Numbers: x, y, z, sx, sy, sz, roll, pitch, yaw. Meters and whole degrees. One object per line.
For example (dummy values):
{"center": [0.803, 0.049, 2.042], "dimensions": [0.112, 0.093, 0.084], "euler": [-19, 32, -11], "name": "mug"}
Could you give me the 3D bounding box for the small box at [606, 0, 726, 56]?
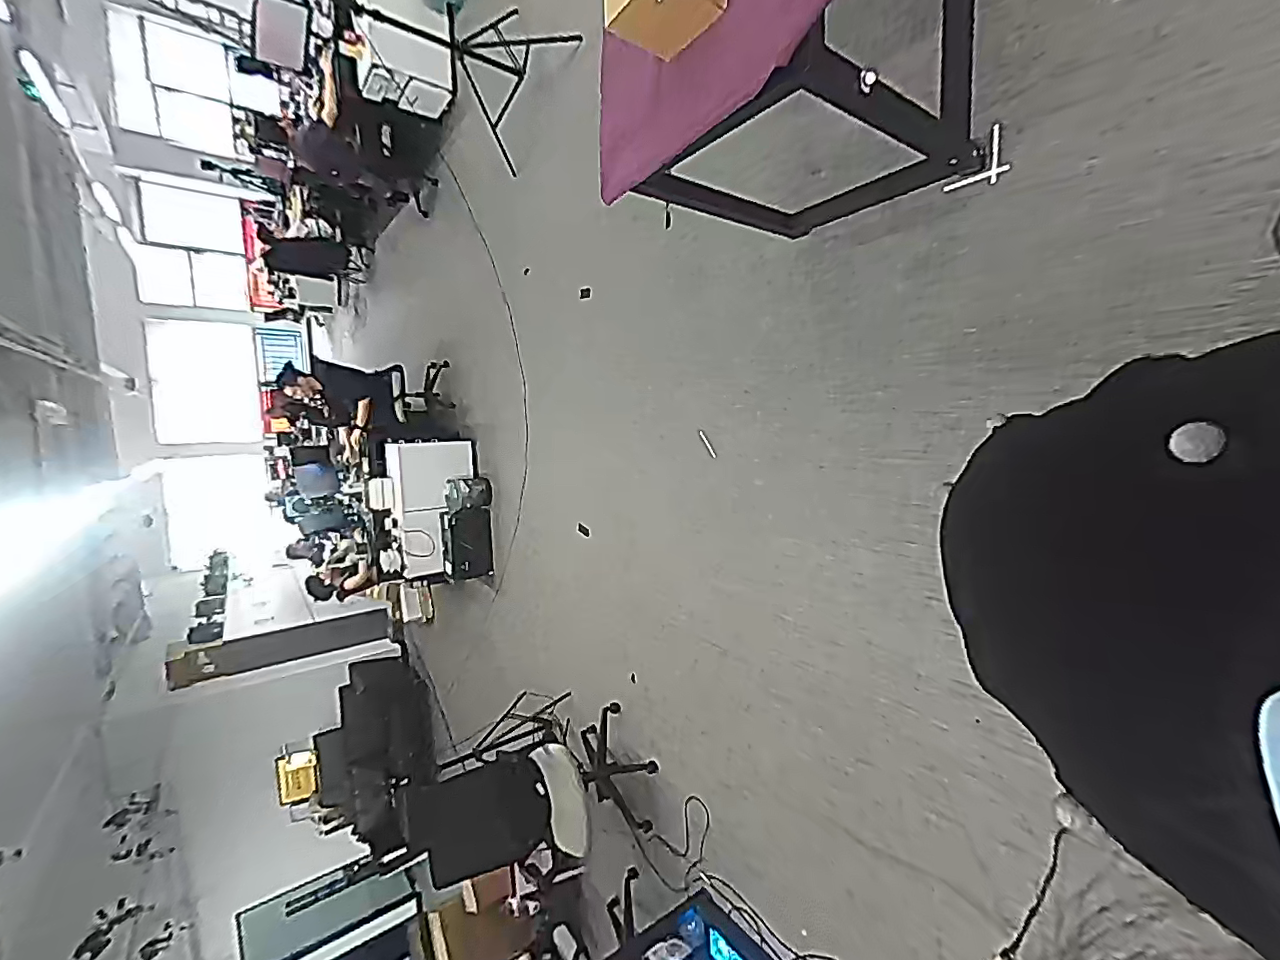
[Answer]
{"center": [0.049, -0.973, 1.041], "dimensions": [0.179, 0.176, 0.168], "euler": [4, 97, 53], "name": "small box"}
